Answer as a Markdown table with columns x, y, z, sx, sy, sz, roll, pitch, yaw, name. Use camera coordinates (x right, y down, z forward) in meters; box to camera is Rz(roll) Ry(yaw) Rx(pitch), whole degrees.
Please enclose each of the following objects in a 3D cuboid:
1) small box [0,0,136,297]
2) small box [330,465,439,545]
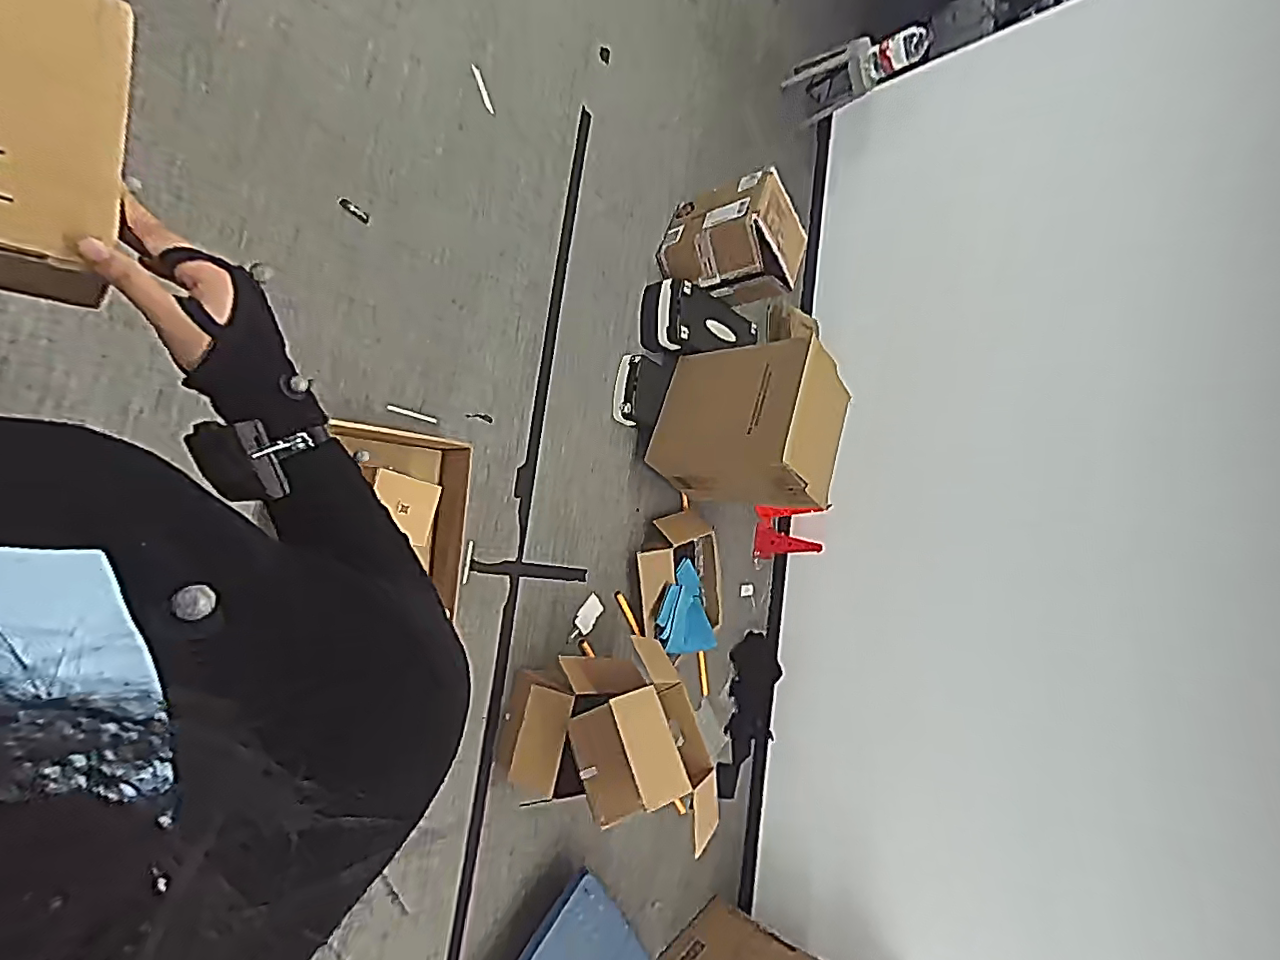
| x | y | z | sx | sy | sz | roll | pitch | yaw | name |
| --- | --- | --- | --- | --- | --- | --- | --- | --- | --- |
| -0.446 | -0.231 | 0.343 | 0.168 | 0.176 | 0.179 | 4 | 91 | -48 | small box |
| -0.660 | 0.061 | 1.400 | 0.179 | 0.176 | 0.168 | 25 | 74 | -47 | small box |
